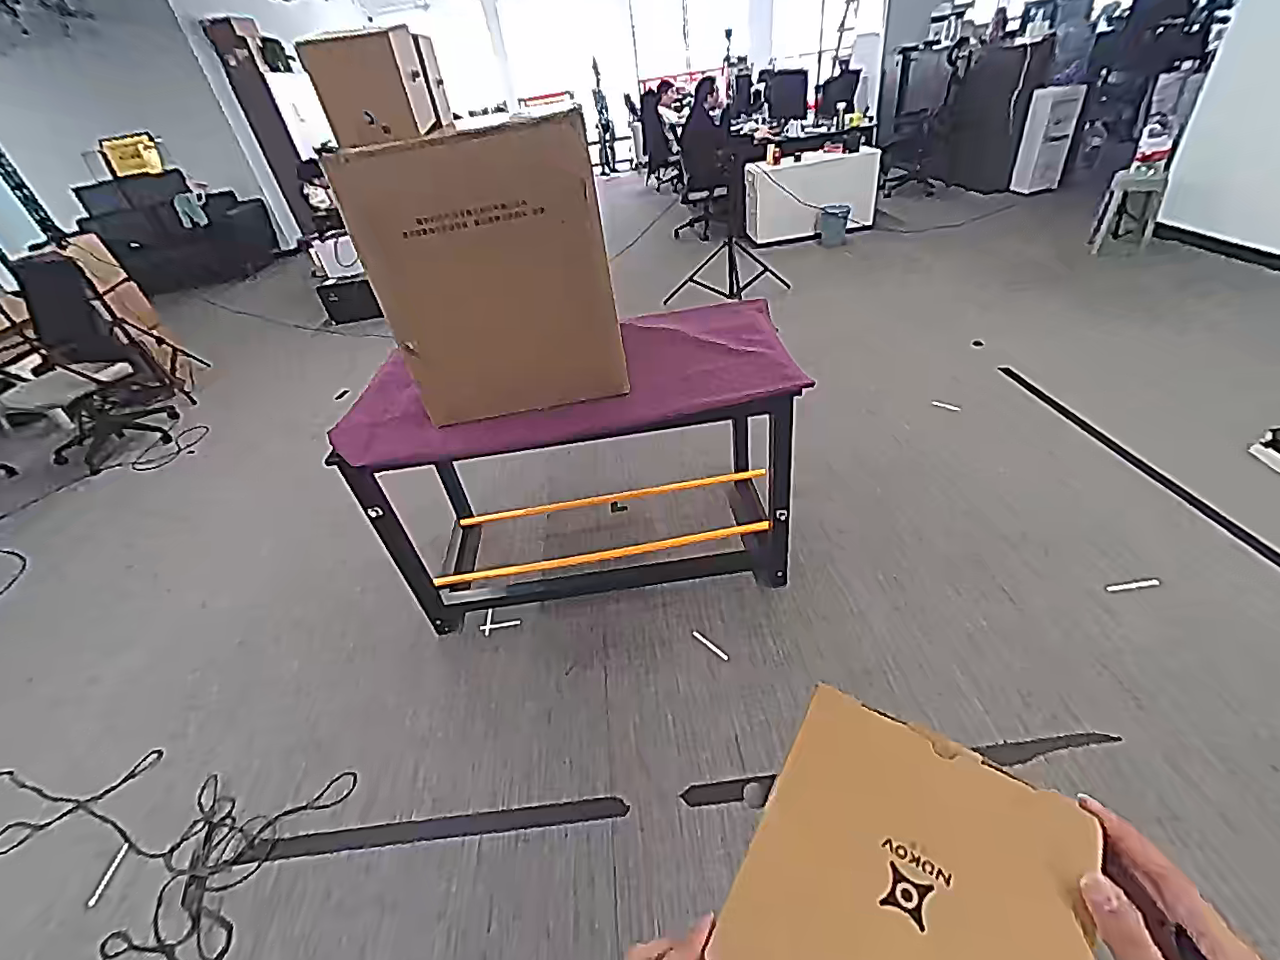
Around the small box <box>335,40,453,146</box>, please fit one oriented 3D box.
[{"bbox_3d":[-0.537,-0.868,1.214,0.179,0.176,0.168,-10,37,-1],"label":"small box"}]
